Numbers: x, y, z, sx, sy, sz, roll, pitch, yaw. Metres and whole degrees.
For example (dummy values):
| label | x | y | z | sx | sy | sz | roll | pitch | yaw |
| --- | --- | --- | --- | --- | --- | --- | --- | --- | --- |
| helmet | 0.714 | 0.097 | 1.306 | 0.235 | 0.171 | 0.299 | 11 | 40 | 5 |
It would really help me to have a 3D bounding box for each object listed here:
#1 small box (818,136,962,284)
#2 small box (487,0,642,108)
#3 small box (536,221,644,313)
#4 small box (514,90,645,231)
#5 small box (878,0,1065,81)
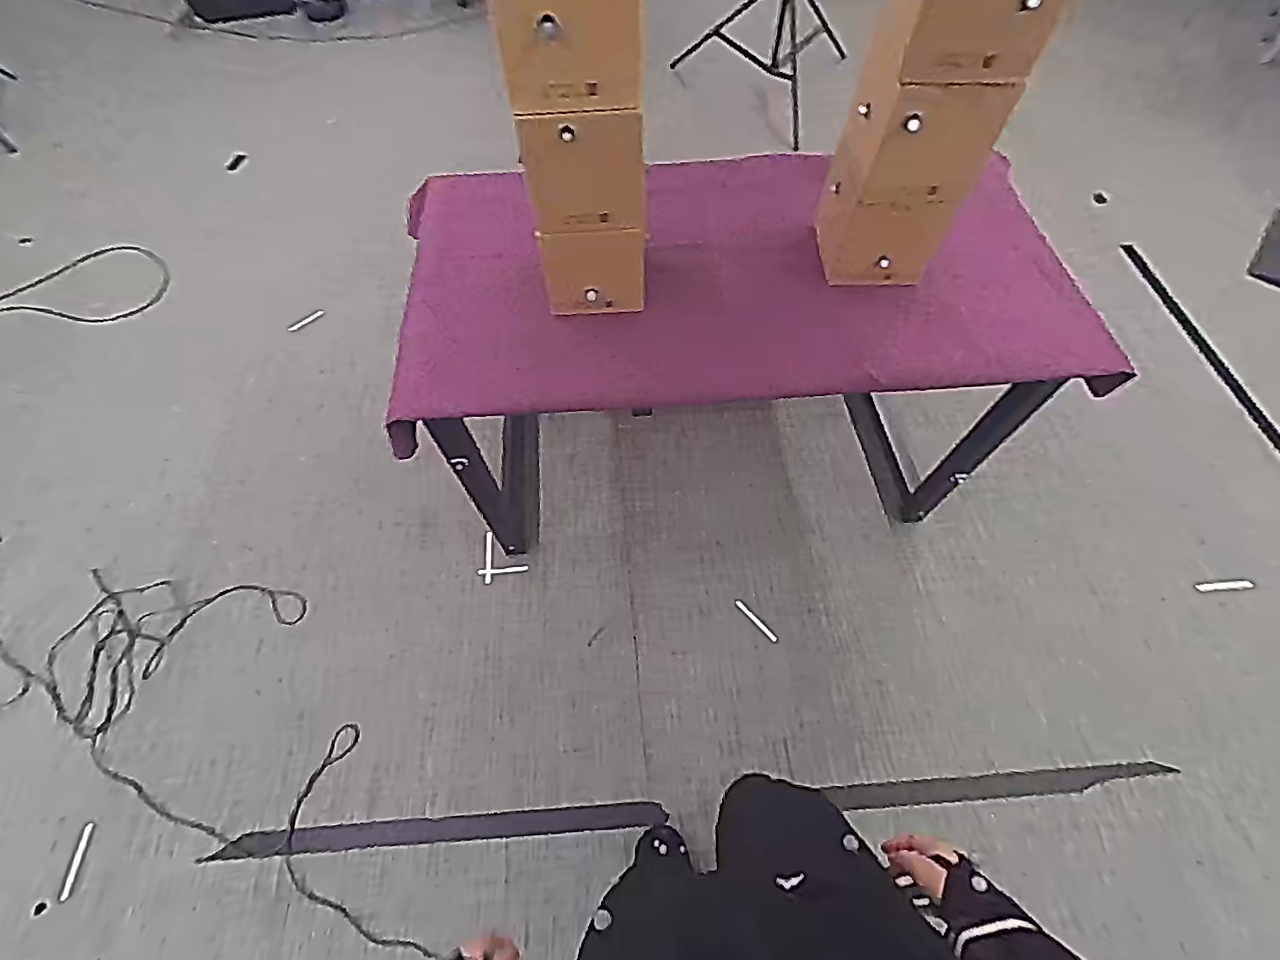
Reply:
| label | x | y | z | sx | sy | sz | roll | pitch | yaw |
| --- | --- | --- | --- | --- | --- | --- | --- | --- | --- |
| small box | 0.423 | -0.472 | 0.952 | 0.168 | 0.176 | 0.179 | 0 | 62 | 2 |
| small box | -0.087 | -0.571 | 0.642 | 0.168 | 0.176 | 0.179 | -5 | 61 | -2 |
| small box | -0.080 | -0.411 | 0.927 | 0.168 | 0.176 | 0.179 | -3 | 62 | -1 |
| small box | -0.081 | -0.491 | 0.784 | 0.168 | 0.176 | 0.179 | -4 | 61 | -1 |
| small box | 0.414 | -0.622 | 0.662 | 0.168 | 0.176 | 0.179 | 2 | 60 | 1 |
